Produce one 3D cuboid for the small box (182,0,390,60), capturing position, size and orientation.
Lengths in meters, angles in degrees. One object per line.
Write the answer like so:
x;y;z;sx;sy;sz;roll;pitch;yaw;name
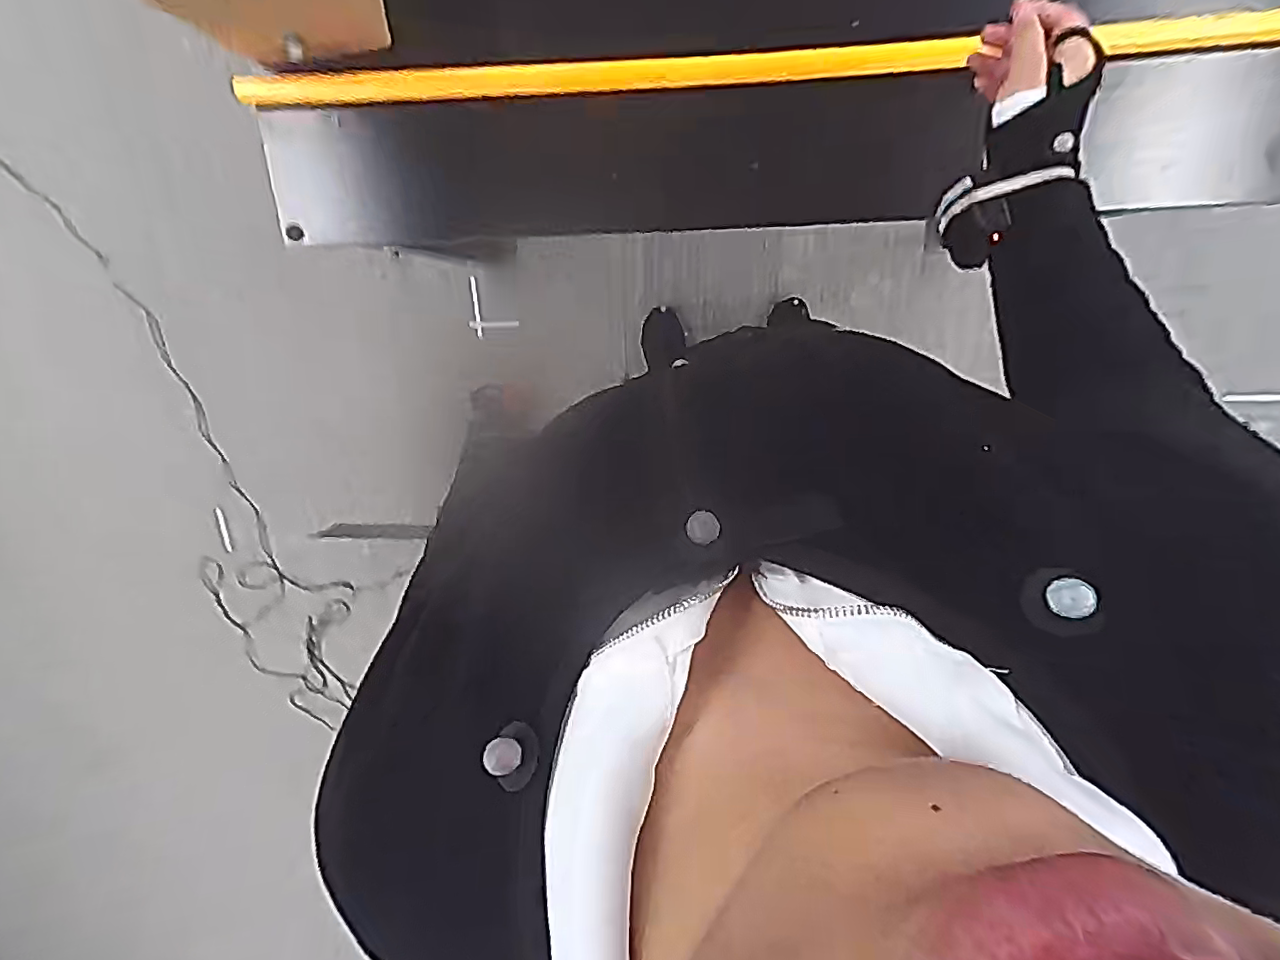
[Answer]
-0.377;-0.557;0.529;0.168;0.176;0.179;-4;109;5;small box
